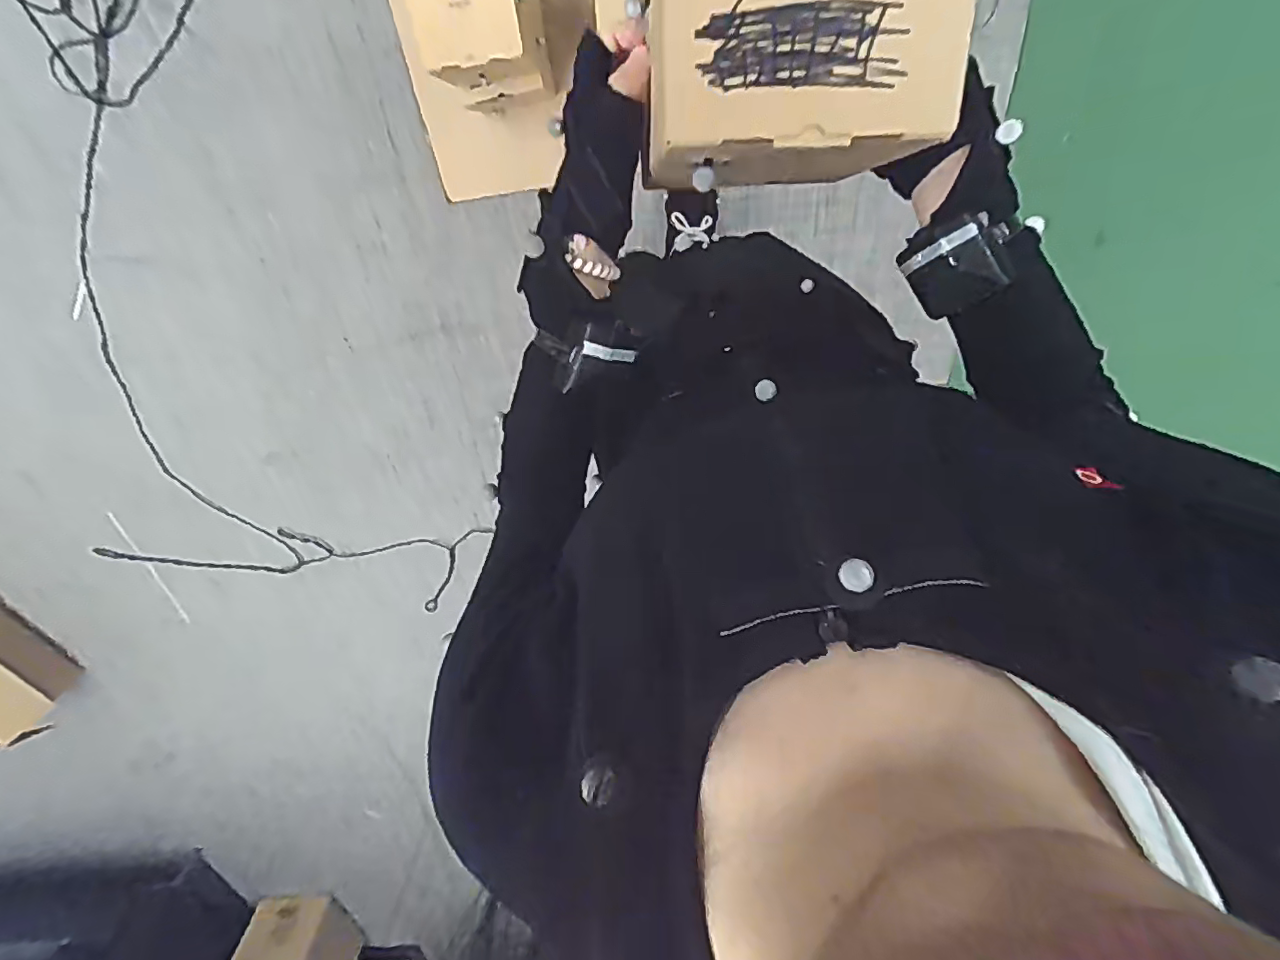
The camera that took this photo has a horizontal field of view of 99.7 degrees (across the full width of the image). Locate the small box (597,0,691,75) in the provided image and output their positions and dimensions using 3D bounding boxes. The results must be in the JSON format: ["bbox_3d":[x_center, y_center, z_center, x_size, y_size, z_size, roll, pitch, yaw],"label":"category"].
[{"bbox_3d":[0.007,-0.872,0.999,0.168,0.176,0.179,-2,121,3],"label":"small box"}]

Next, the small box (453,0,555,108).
[{"bbox_3d":[-0.268,-0.824,1.025,0.168,0.176,0.179,-9,120,5],"label":"small box"}]

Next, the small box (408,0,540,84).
[{"bbox_3d":[-0.267,-0.766,0.870,0.168,0.176,0.179,-6,120,4],"label":"small box"}]
